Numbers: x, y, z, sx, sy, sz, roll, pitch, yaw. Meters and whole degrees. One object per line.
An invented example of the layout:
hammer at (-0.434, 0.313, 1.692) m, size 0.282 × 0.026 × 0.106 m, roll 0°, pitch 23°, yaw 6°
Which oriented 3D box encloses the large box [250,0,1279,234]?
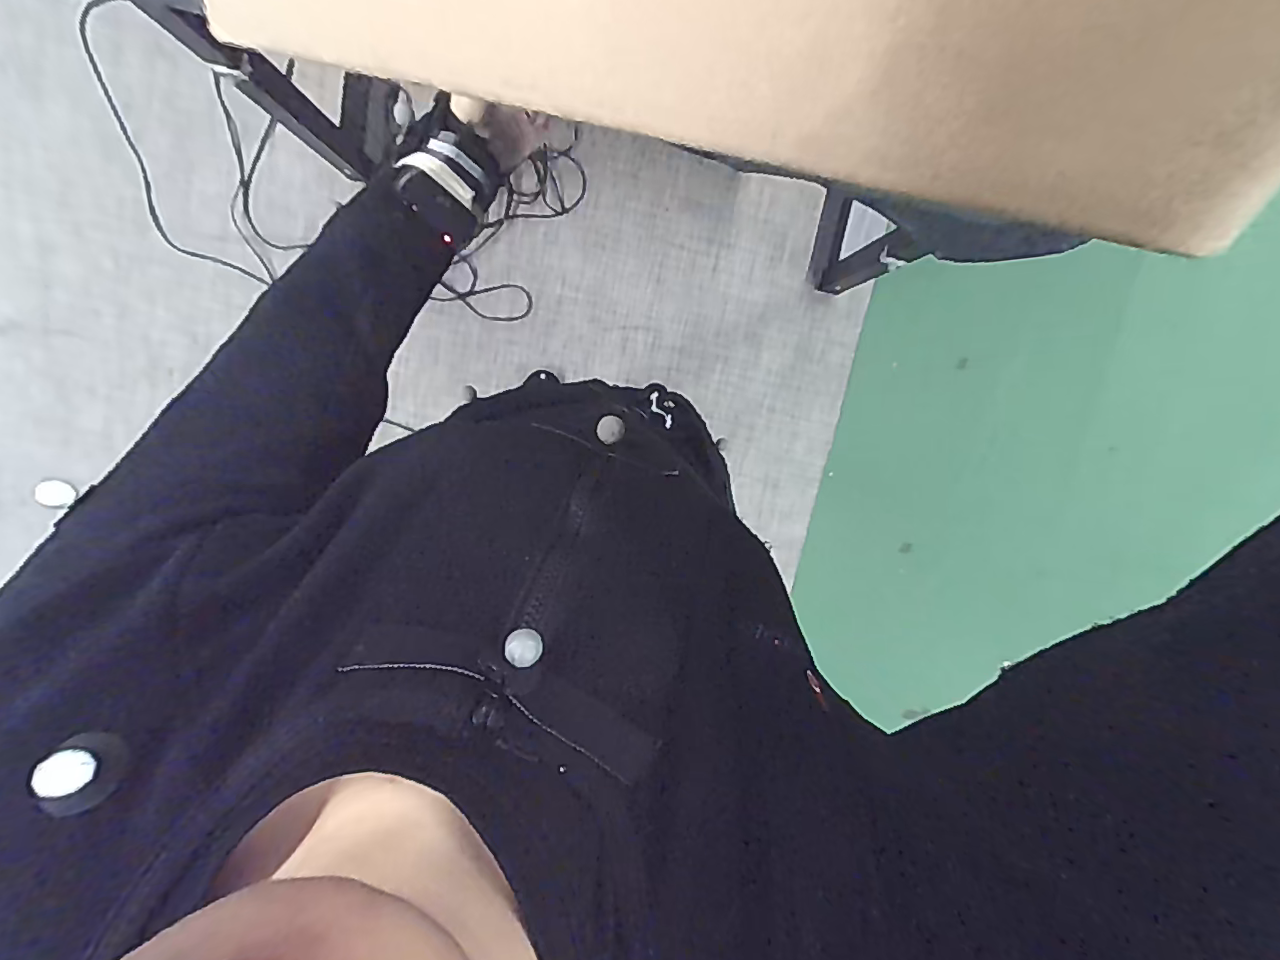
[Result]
large box at (0.072, -0.338, 0.232) m, size 0.408 × 0.320 × 0.320 m, roll 15°, pitch 132°, yaw 8°
